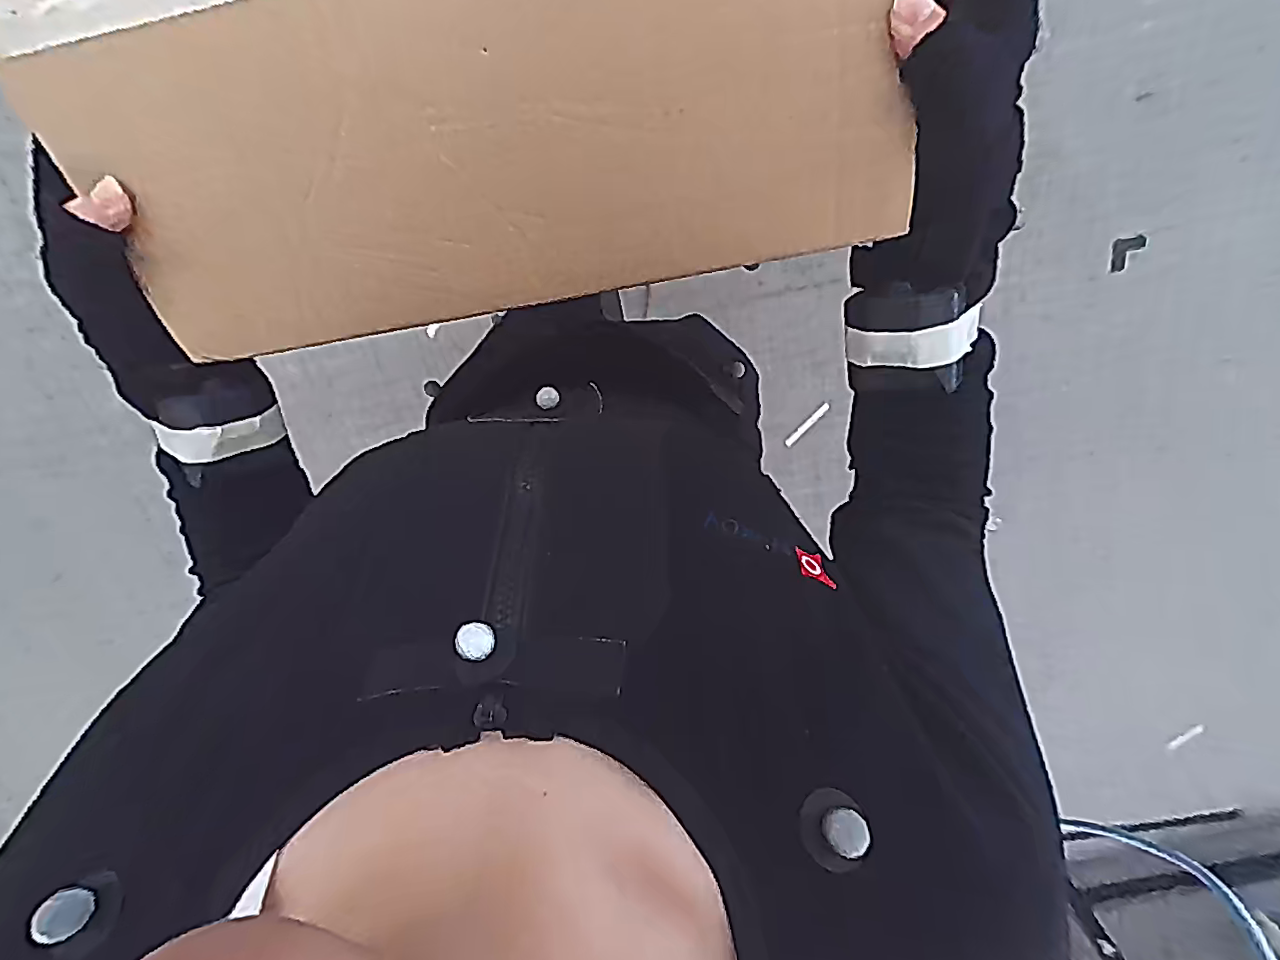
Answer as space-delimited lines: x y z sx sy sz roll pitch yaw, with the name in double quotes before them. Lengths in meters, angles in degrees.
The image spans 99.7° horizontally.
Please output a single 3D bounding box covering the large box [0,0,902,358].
"large box" -0.089 -0.312 0.345 0.408 0.320 0.320 -8 123 7
